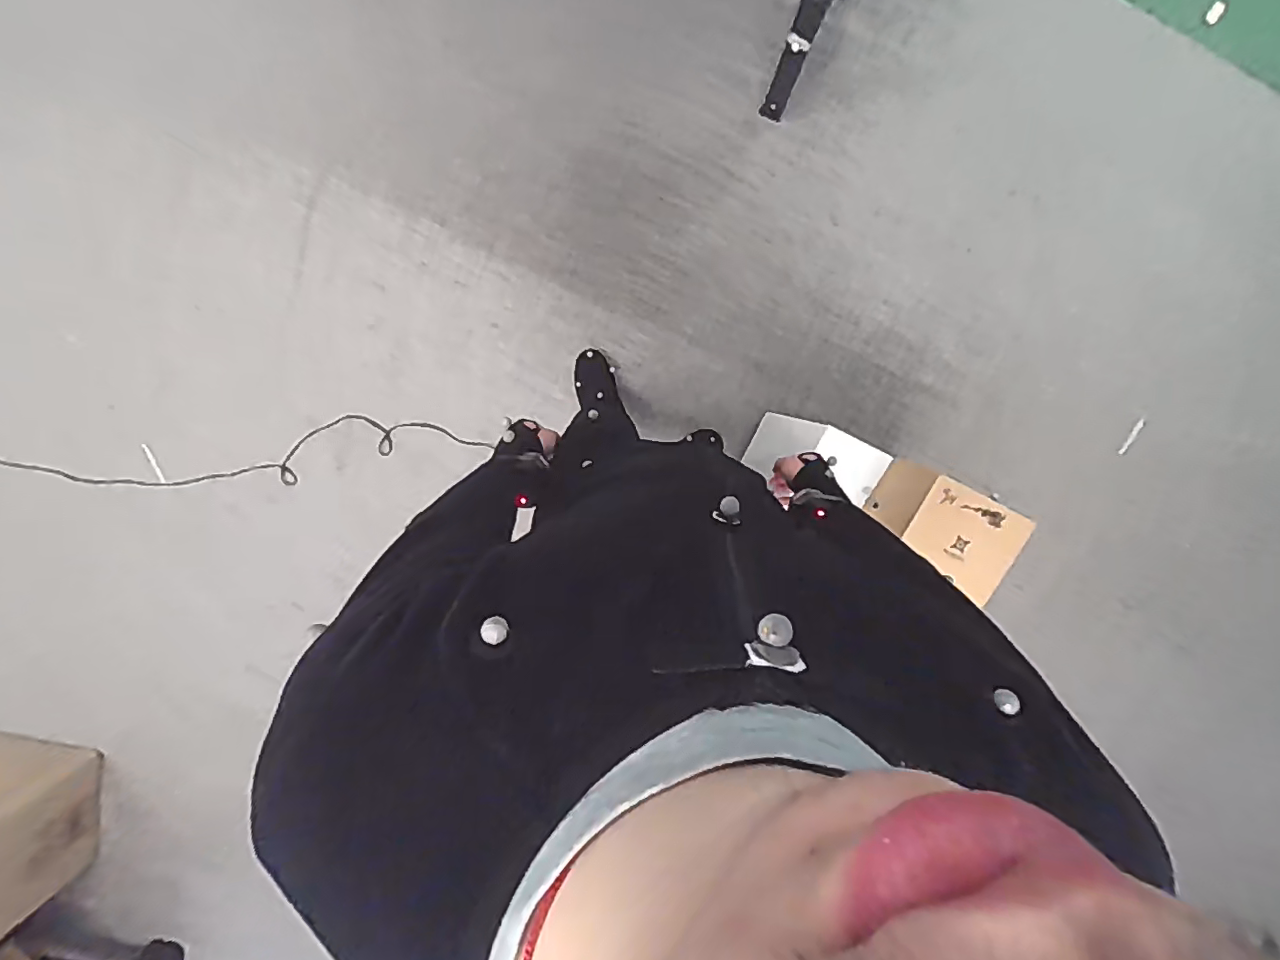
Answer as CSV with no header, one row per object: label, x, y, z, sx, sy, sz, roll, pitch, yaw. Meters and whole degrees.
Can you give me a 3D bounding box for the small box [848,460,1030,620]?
small box,0.462,0.087,0.875,0.168,0.176,0.179,27,102,-3
